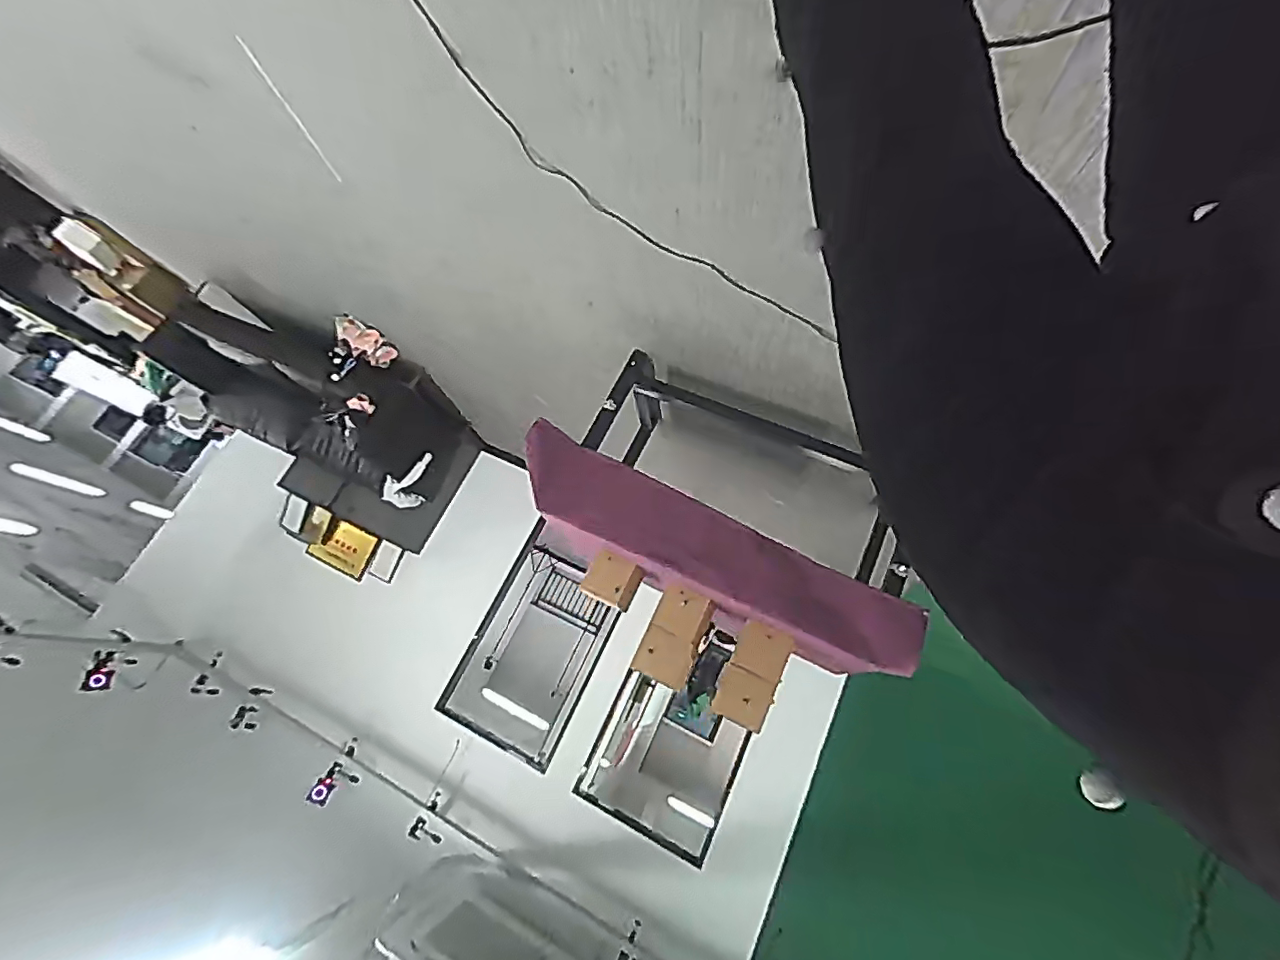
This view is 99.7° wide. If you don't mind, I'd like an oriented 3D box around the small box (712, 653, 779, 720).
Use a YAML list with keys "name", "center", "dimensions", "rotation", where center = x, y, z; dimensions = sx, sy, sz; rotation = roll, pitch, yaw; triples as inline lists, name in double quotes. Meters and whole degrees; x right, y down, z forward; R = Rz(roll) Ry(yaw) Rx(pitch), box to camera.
- name: "small box"
  center: [0.365, 0.712, 1.882]
  dimensions: [0.179, 0.176, 0.168]
  rotation: [22, 164, 16]

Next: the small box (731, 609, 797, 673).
- name: "small box"
  center: [0.437, 0.570, 1.924]
  dimensions: [0.179, 0.176, 0.168]
  rotation: [23, 165, 16]

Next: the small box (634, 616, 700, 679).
- name: "small box"
  center: [0.103, 0.601, 1.960]
  dimensions: [0.179, 0.176, 0.168]
  rotation: [21, 165, 19]

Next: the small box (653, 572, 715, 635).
- name: "small box"
  center: [0.171, 0.460, 2.006]
  dimensions: [0.168, 0.176, 0.179]
  rotation: [20, 163, 21]
